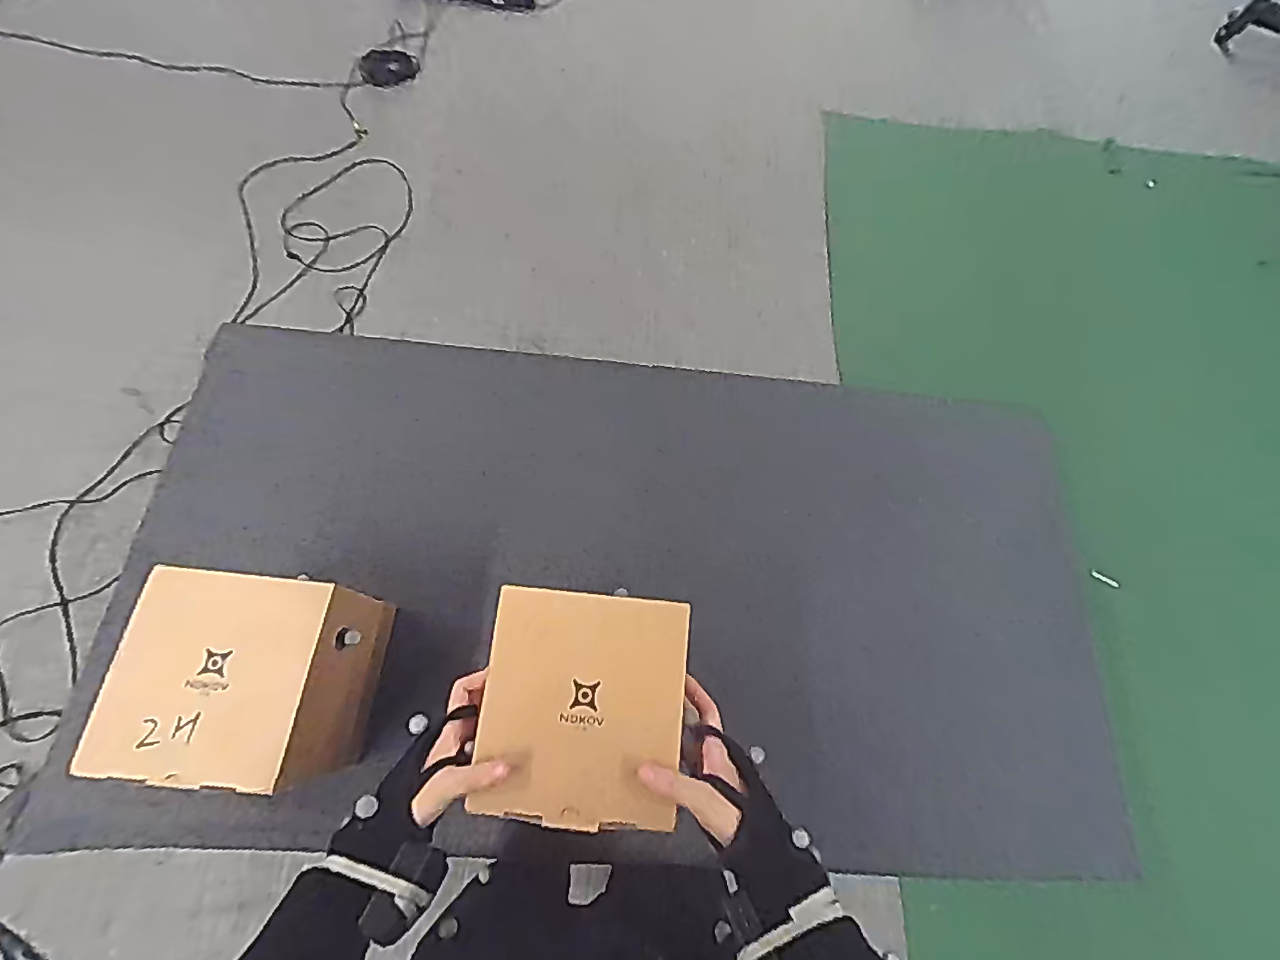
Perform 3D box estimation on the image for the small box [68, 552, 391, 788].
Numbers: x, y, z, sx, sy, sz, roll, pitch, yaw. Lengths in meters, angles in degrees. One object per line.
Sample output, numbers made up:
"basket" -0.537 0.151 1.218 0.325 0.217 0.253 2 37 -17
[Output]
"small box" -0.368 0.183 0.532 0.168 0.176 0.179 8 69 -3
